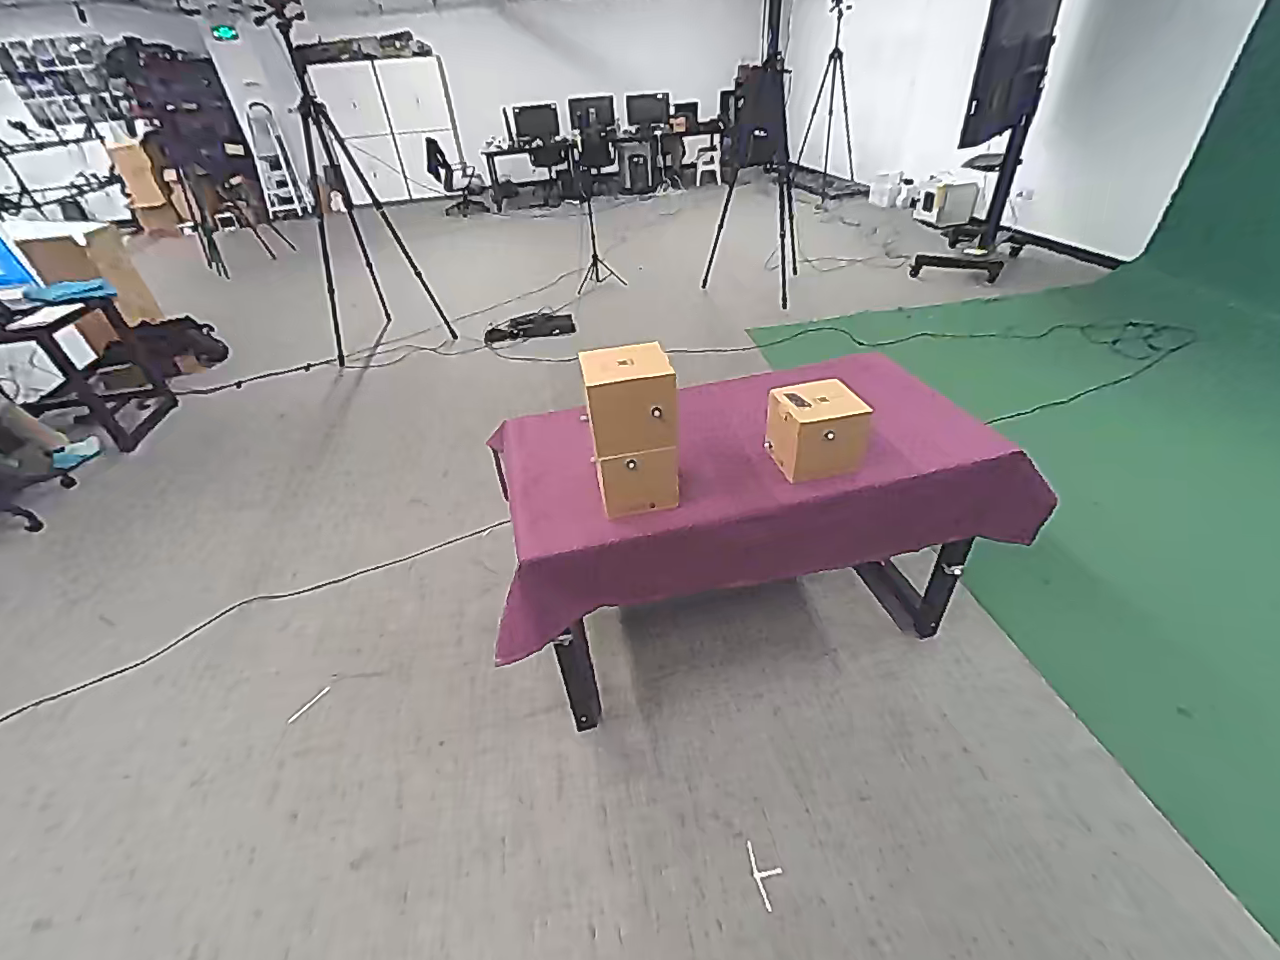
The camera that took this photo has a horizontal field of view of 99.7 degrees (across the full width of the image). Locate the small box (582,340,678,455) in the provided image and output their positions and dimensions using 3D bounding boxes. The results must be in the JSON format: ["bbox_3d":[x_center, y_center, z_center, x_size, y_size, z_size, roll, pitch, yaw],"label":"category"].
[{"bbox_3d":[-0.020,-0.172,1.129,0.179,0.176,0.168,-10,37,-5],"label":"small box"}]

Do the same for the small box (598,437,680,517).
[{"bbox_3d":[-0.008,-0.042,1.229,0.168,0.176,0.179,-11,37,-6],"label":"small box"}]

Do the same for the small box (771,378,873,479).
[{"bbox_3d":[0.418,-0.120,1.277,0.179,0.176,0.168,-10,38,-7],"label":"small box"}]
